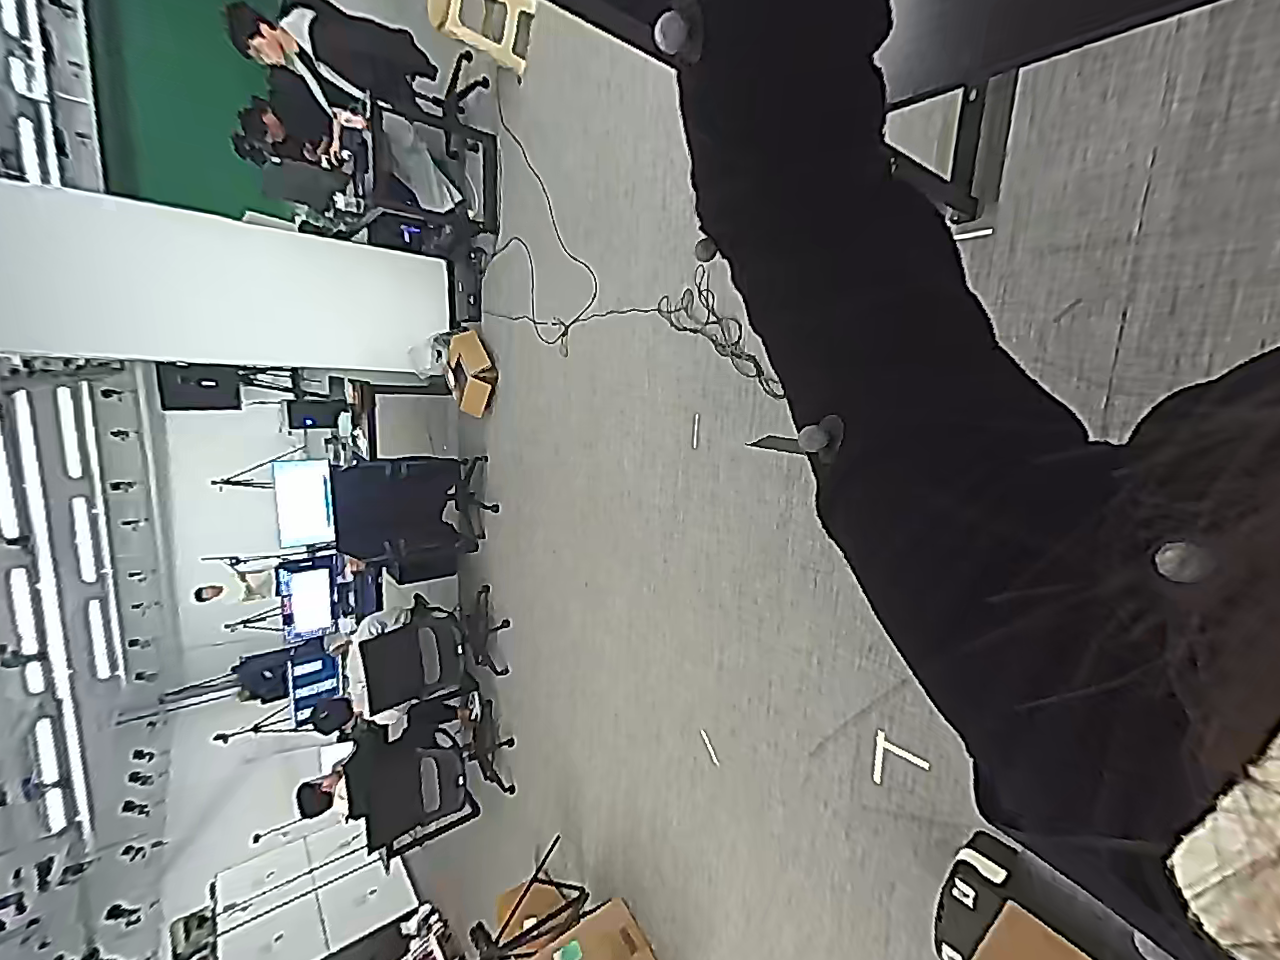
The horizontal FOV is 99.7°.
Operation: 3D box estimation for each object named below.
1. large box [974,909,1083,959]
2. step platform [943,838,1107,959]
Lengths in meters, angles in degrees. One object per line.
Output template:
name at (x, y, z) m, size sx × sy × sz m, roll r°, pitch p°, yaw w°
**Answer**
large box at (0.833, 1.166, 1.021) m, size 0.408 × 0.320 × 0.320 m, roll 21°, pitch 111°, yaw 48°
step platform at (1.036, 1.151, 1.148) m, size 0.684 × 0.204 × 0.286 m, roll 24°, pitch 112°, yaw 47°
